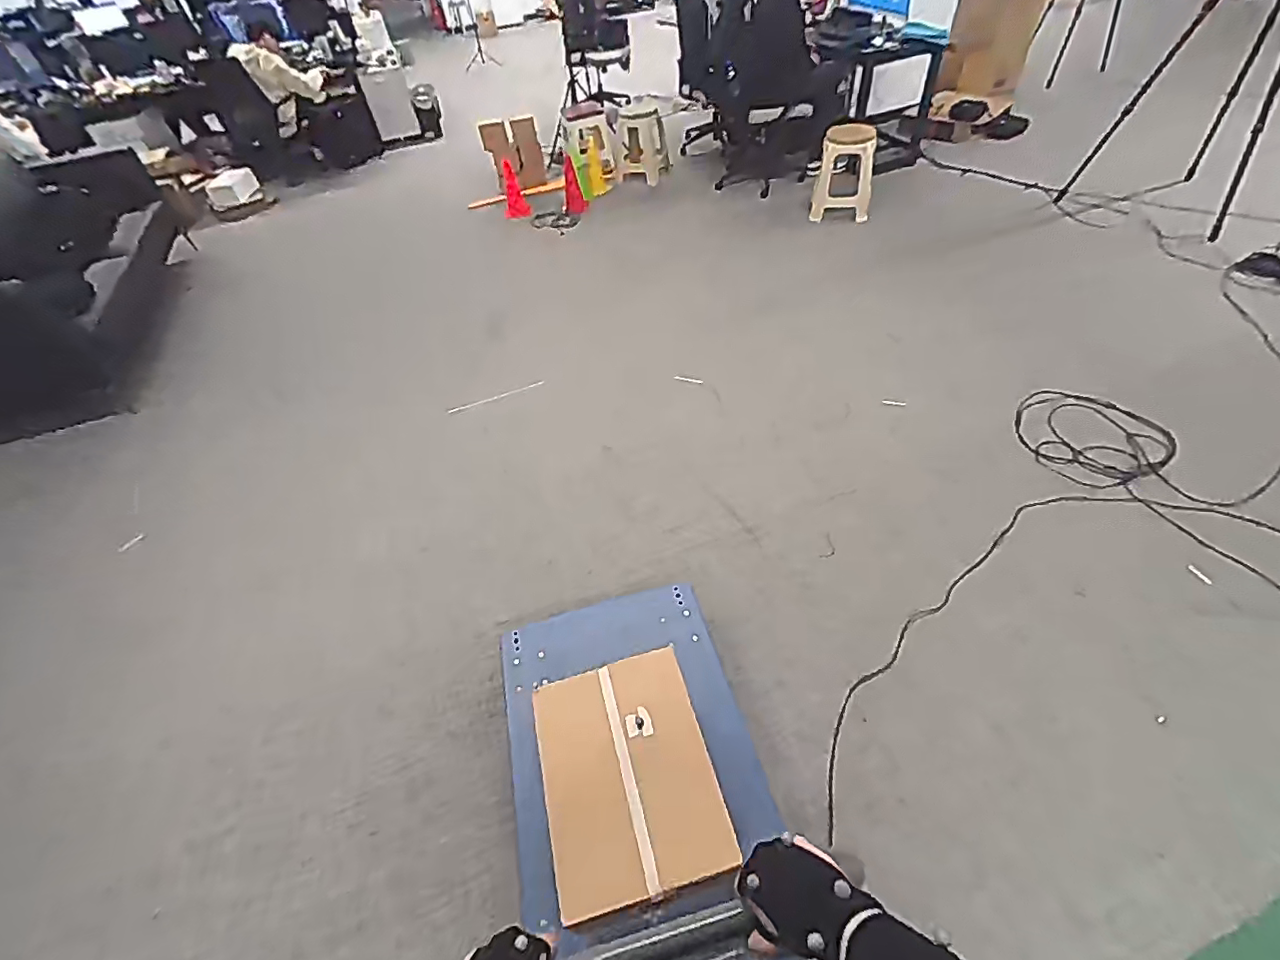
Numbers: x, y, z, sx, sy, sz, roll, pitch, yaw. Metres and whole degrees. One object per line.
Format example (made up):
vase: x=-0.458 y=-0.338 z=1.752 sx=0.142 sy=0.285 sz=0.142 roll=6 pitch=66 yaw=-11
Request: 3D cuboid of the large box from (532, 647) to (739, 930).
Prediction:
large box: x=-0.011 y=0.640 z=1.138 sx=0.320 sy=0.320 sz=0.408 roll=-15 pitch=48 yaw=-6
